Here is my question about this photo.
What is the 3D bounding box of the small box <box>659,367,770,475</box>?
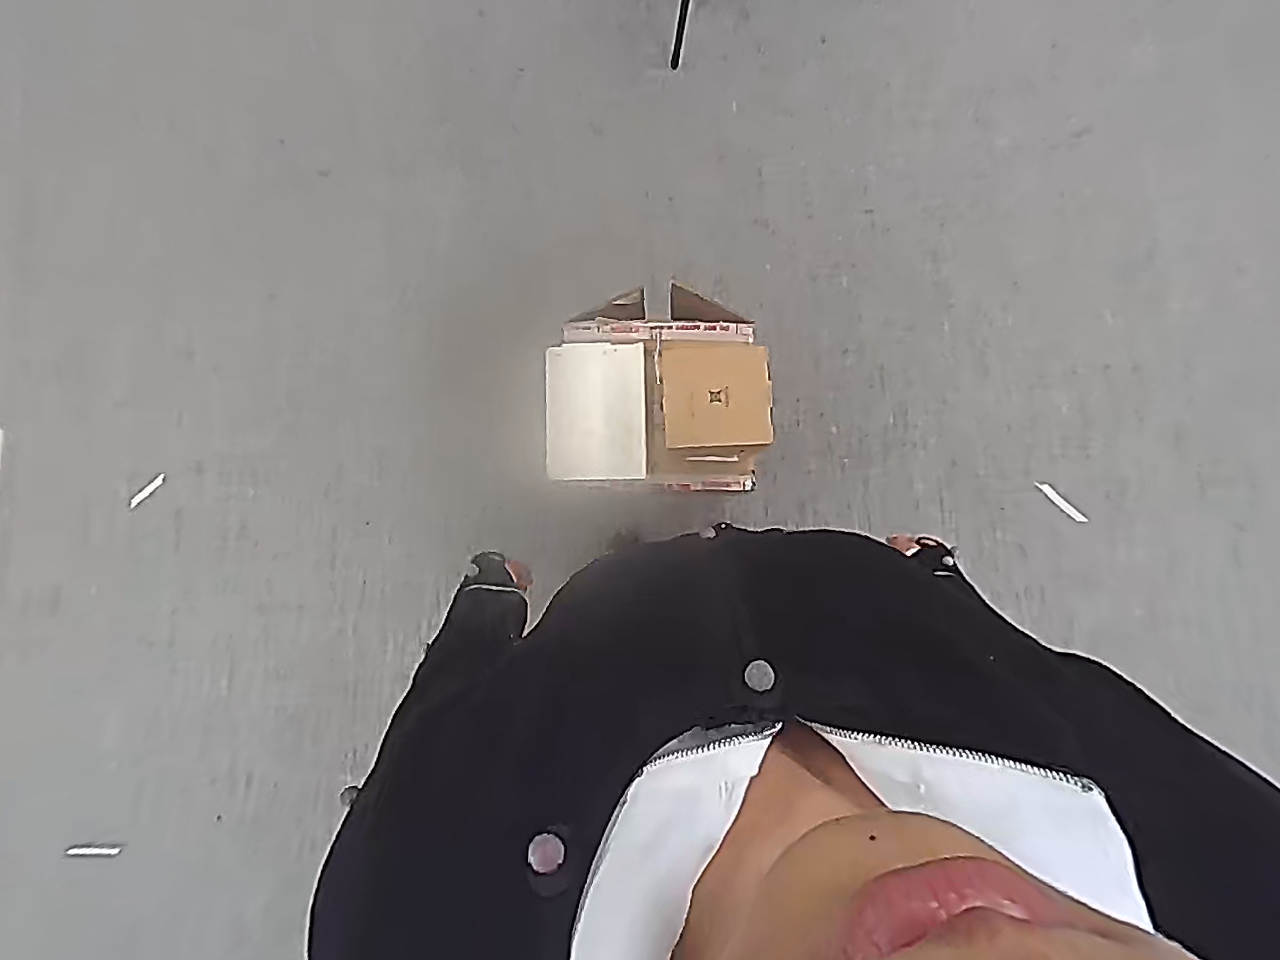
[{"bbox_3d":[0.127,-0.099,0.978,0.179,0.176,0.168,-3,86,2],"label":"small box"}]
